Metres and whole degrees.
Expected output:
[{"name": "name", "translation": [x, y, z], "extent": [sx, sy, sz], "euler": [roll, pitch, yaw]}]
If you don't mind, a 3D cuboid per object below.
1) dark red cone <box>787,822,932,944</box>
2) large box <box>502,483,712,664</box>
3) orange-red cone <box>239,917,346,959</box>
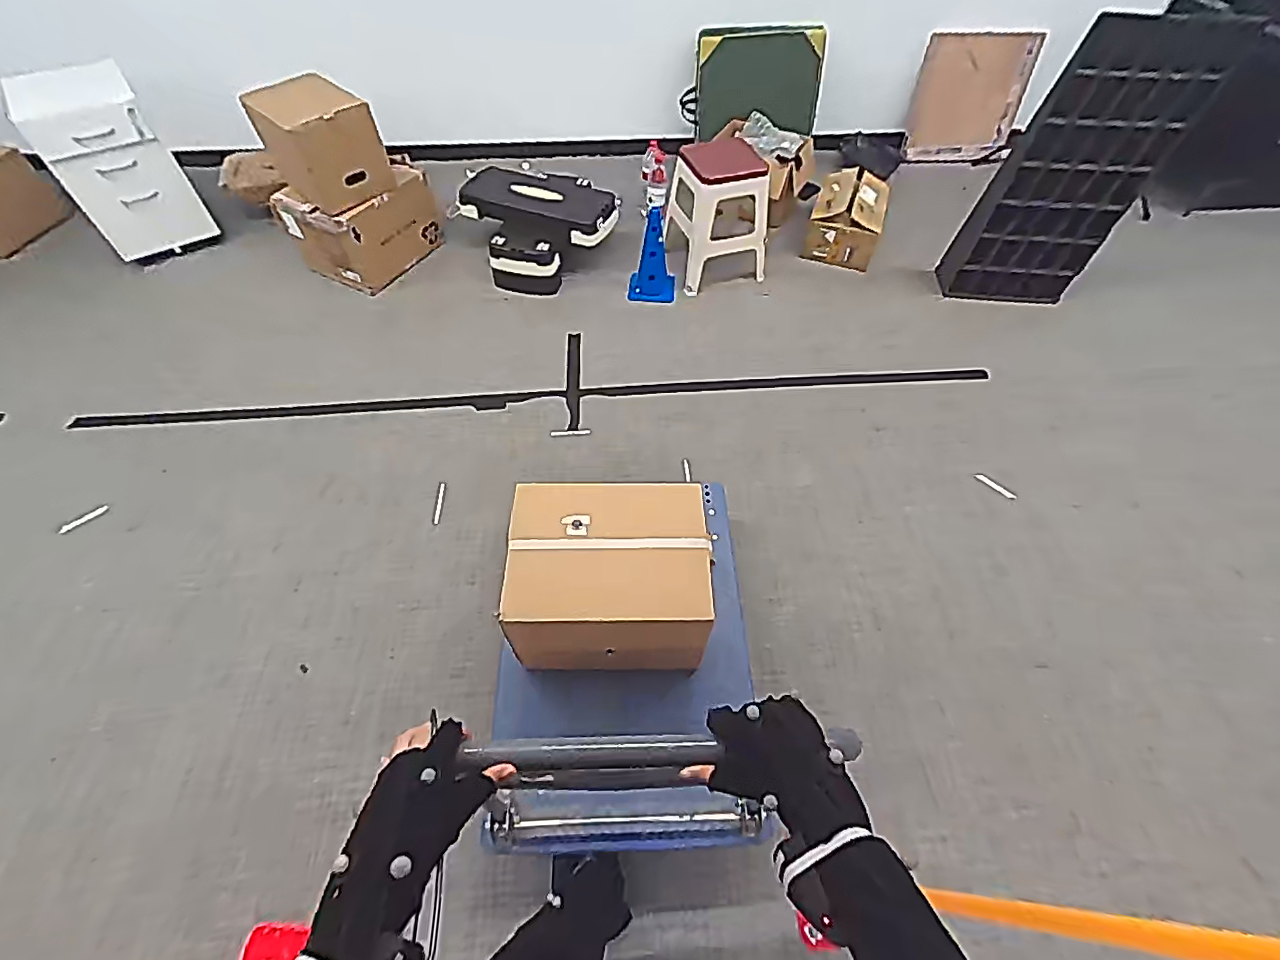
[{"name": "dark red cone", "translation": [0.429, 0.748, 1.005], "extent": [0.201, 0.394, 0.202], "euler": [-1, 55, -4]}, {"name": "large box", "translation": [-0.064, 0.219, 1.219], "extent": [0.408, 0.320, 0.320], "euler": [0, 55, -1]}, {"name": "orange-red cone", "translation": [-0.694, 0.880, 0.915], "extent": [0.198, 0.360, 0.199], "euler": [4, 53, 1]}]
